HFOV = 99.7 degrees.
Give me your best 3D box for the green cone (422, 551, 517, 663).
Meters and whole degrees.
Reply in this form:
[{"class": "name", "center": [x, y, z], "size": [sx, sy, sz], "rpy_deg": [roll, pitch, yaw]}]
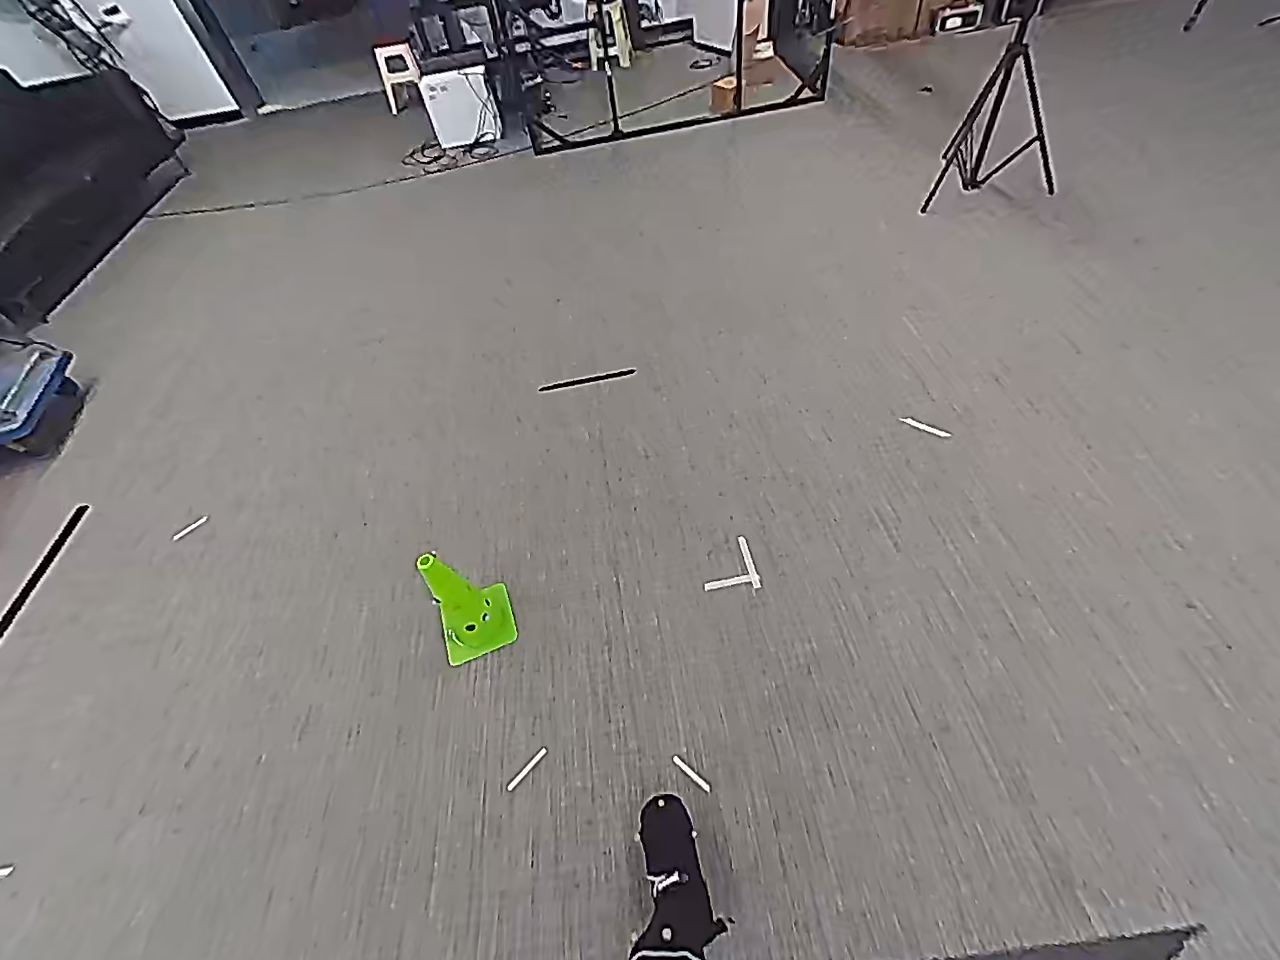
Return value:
[{"class": "green cone", "center": [-0.485, 0.302, 1.428], "size": [0.202, 0.368, 0.200], "rpy_deg": [-21, 52, -9]}]
